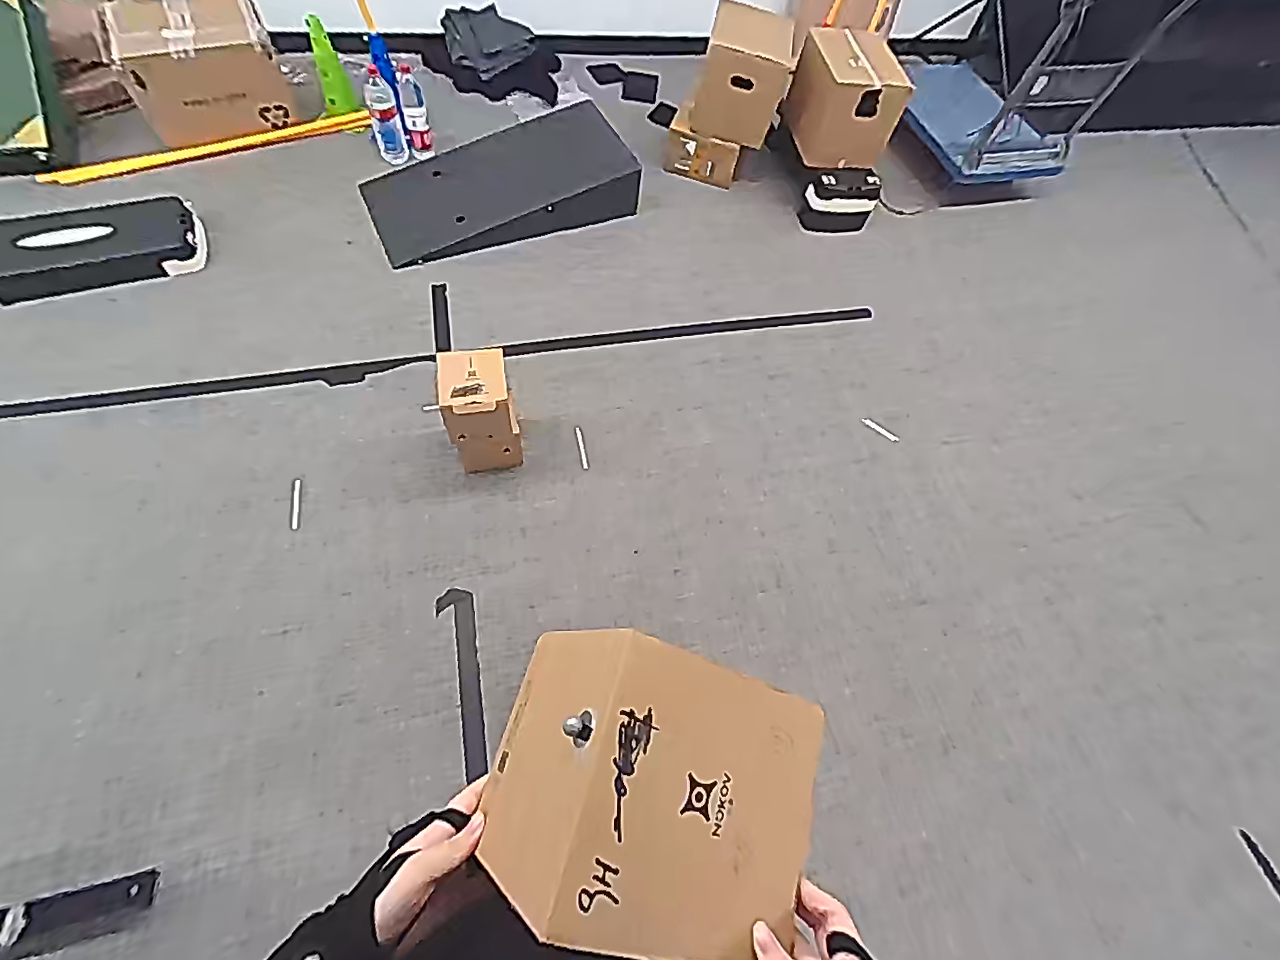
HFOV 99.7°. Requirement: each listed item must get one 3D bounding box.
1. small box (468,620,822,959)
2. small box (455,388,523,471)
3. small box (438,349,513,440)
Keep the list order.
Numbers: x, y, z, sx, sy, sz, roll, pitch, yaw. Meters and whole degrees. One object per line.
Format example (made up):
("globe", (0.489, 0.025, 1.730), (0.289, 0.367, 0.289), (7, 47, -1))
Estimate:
("small box", (0.001, 0.213, 0.401), (0.179, 0.176, 0.168), (30, 62, -21))
("small box", (-0.437, -0.142, 1.558), (0.179, 0.176, 0.168), (-10, 63, -12))
("small box", (-0.426, -0.216, 1.412), (0.168, 0.176, 0.179), (-7, 62, -12))
